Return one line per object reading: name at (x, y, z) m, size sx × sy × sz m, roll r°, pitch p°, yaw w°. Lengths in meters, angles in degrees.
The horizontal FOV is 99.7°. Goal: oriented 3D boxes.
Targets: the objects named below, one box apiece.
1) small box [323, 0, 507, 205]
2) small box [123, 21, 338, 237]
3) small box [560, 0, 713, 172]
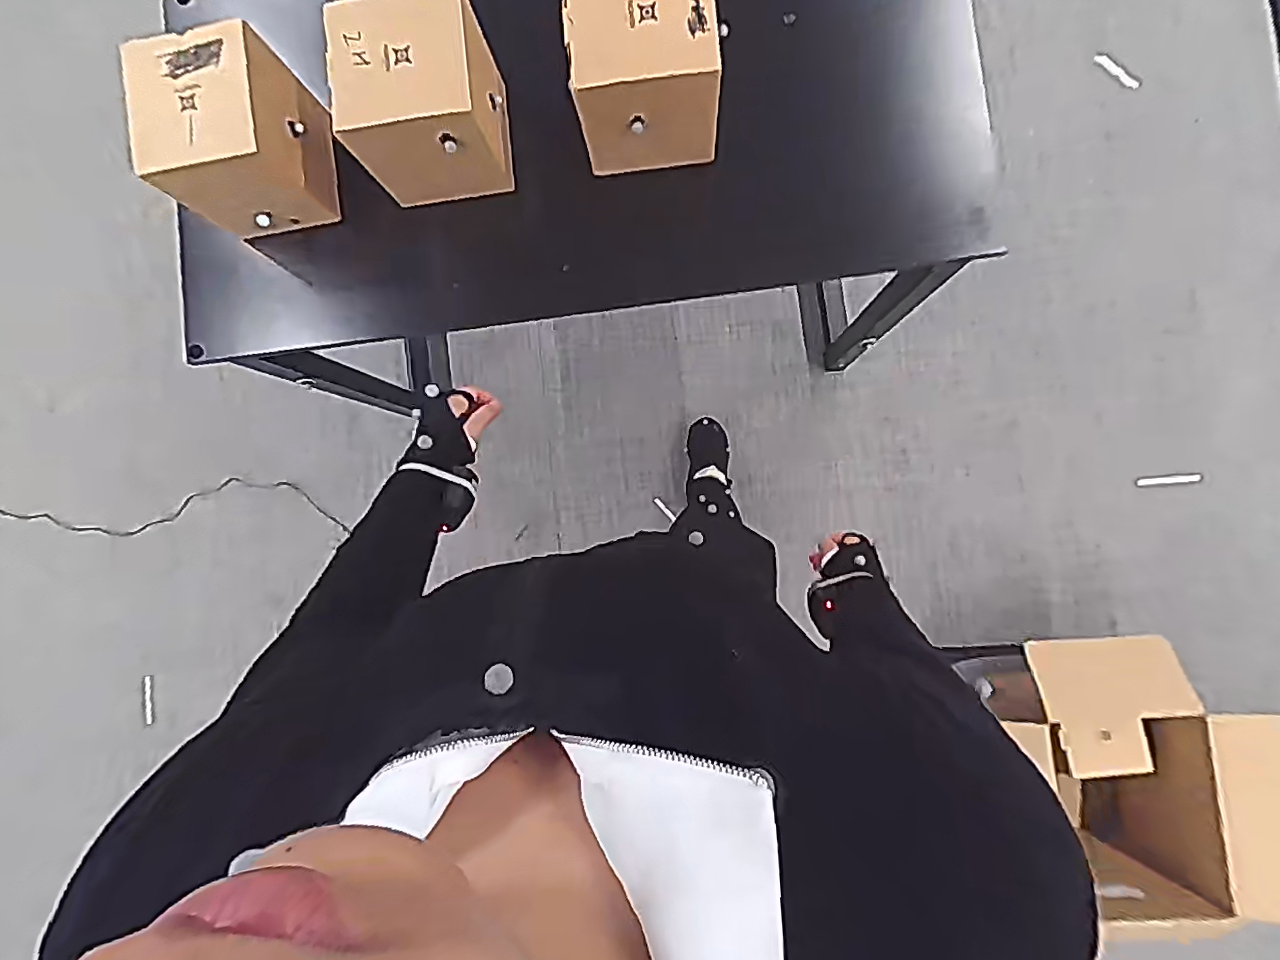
small box at (-0.289, -0.503, 0.731) m, size 0.179 × 0.176 × 0.168 m, roll -7°, pitch 87°, yaw 4°
small box at (-0.553, -0.471, 0.751) m, size 0.168 × 0.176 × 0.179 m, roll -8°, pitch 88°, yaw 4°
small box at (0.002, -0.536, 0.711) m, size 0.179 × 0.176 × 0.168 m, roll -5°, pitch 87°, yaw 5°
